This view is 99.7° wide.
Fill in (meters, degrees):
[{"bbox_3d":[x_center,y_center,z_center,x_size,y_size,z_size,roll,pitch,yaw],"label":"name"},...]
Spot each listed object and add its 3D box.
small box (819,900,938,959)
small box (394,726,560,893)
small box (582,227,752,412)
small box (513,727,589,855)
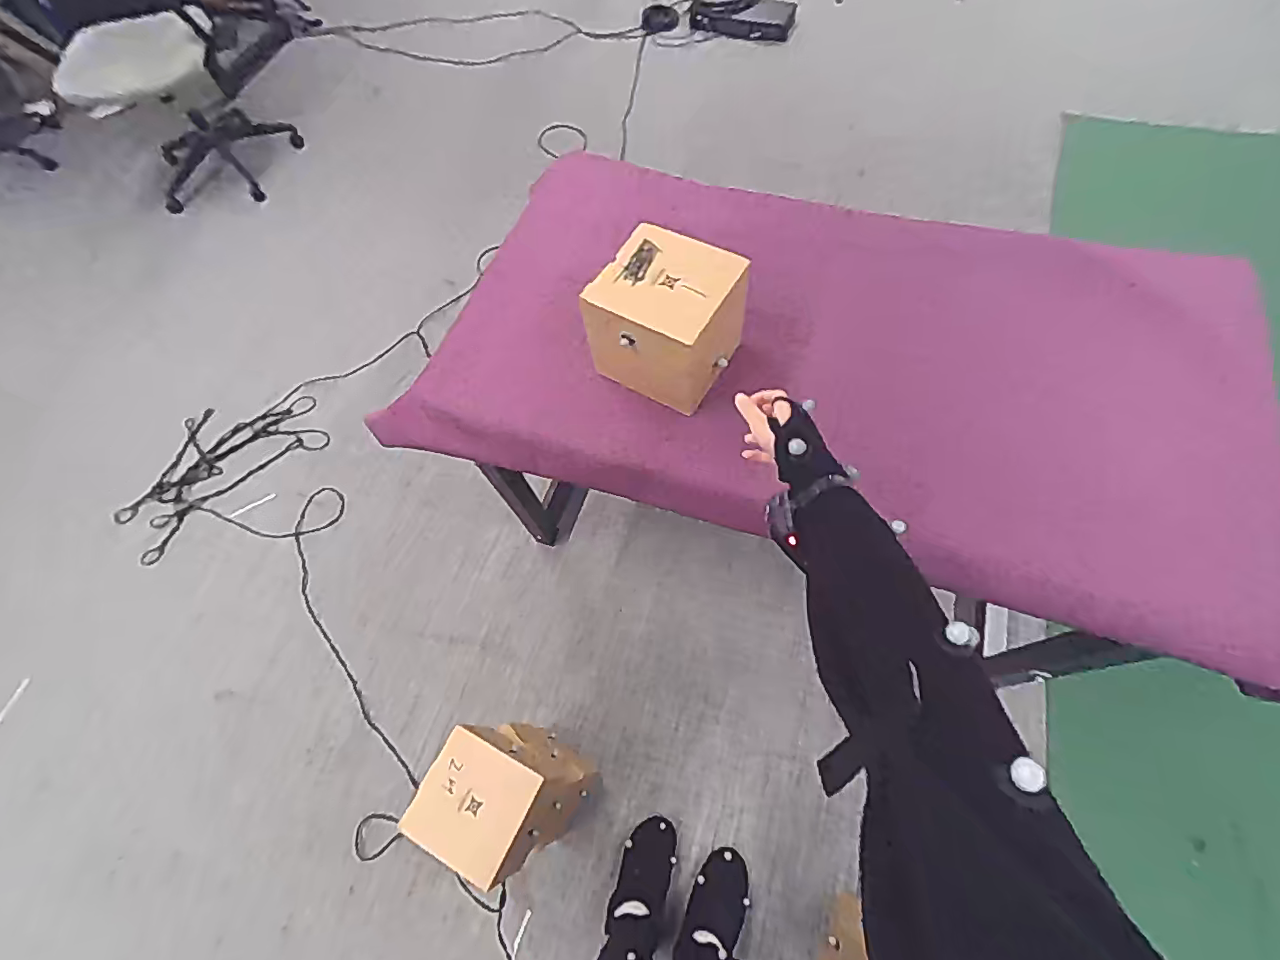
[{"bbox_3d":[0.443,0.925,1.004,0.179,0.176,0.168,25,69,17],"label":"small box"},{"bbox_3d":[-0.255,0.531,0.897,0.179,0.176,0.168,23,67,17],"label":"small box"},{"bbox_3d":[0.042,-0.229,0.797,0.179,0.176,0.168,28,70,17],"label":"small box"},{"bbox_3d":[-0.227,0.673,1.190,0.168,0.176,0.179,30,71,19],"label":"small box"}]
